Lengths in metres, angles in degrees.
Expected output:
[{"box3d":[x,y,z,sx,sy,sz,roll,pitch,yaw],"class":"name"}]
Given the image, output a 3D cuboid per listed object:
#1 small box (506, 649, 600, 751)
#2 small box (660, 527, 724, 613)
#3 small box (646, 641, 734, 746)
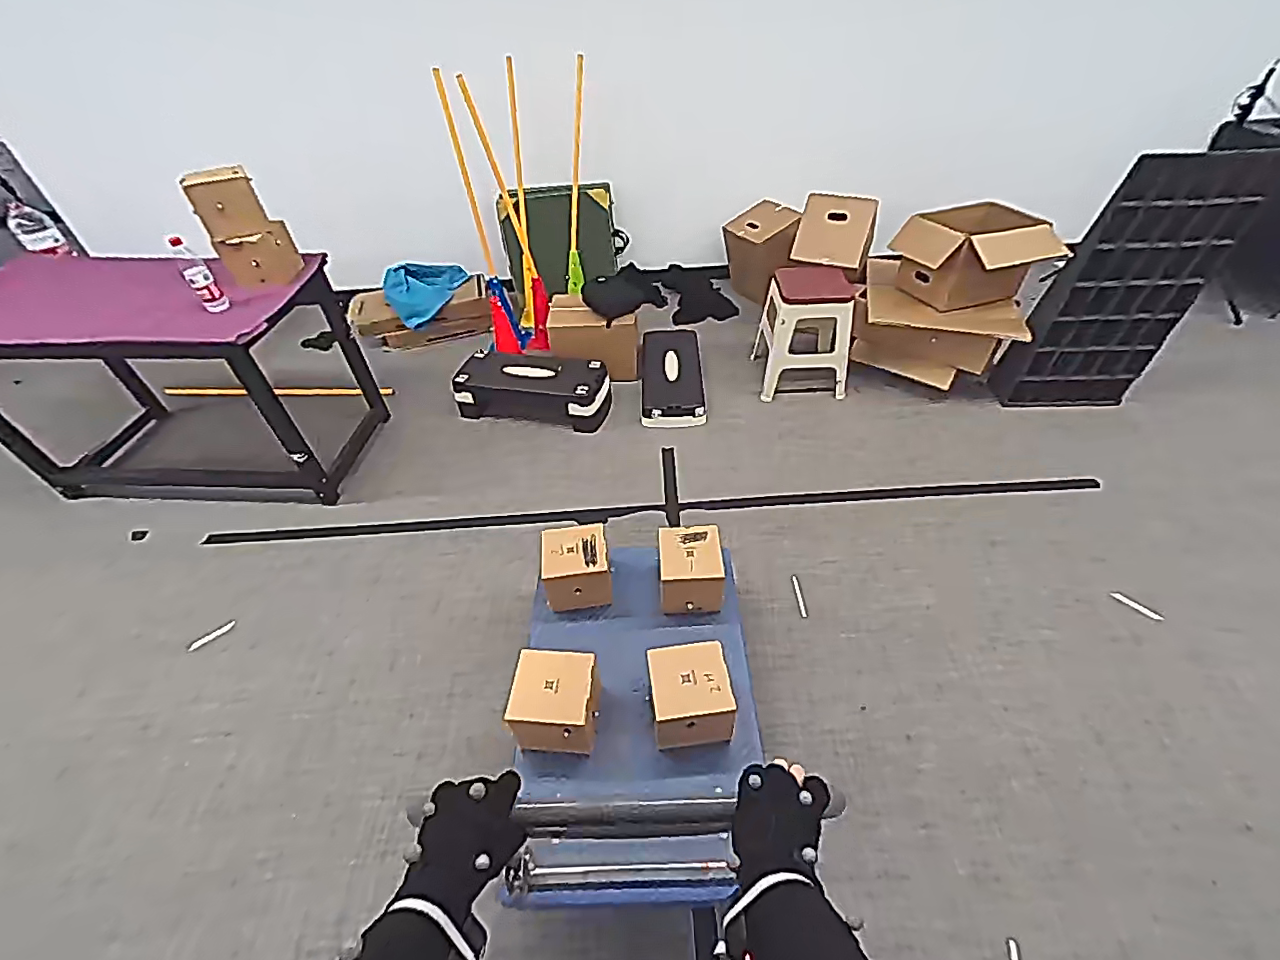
[{"box3d":[-0.194,0.514,1.261,0.179,0.176,0.168,3,44,4],"class":"small box"},{"box3d":[0.139,0.251,1.506,0.168,0.176,0.179,-3,46,1],"class":"small box"},{"box3d":[0.112,0.500,1.257,0.179,0.176,0.168,-6,45,-3],"class":"small box"}]
